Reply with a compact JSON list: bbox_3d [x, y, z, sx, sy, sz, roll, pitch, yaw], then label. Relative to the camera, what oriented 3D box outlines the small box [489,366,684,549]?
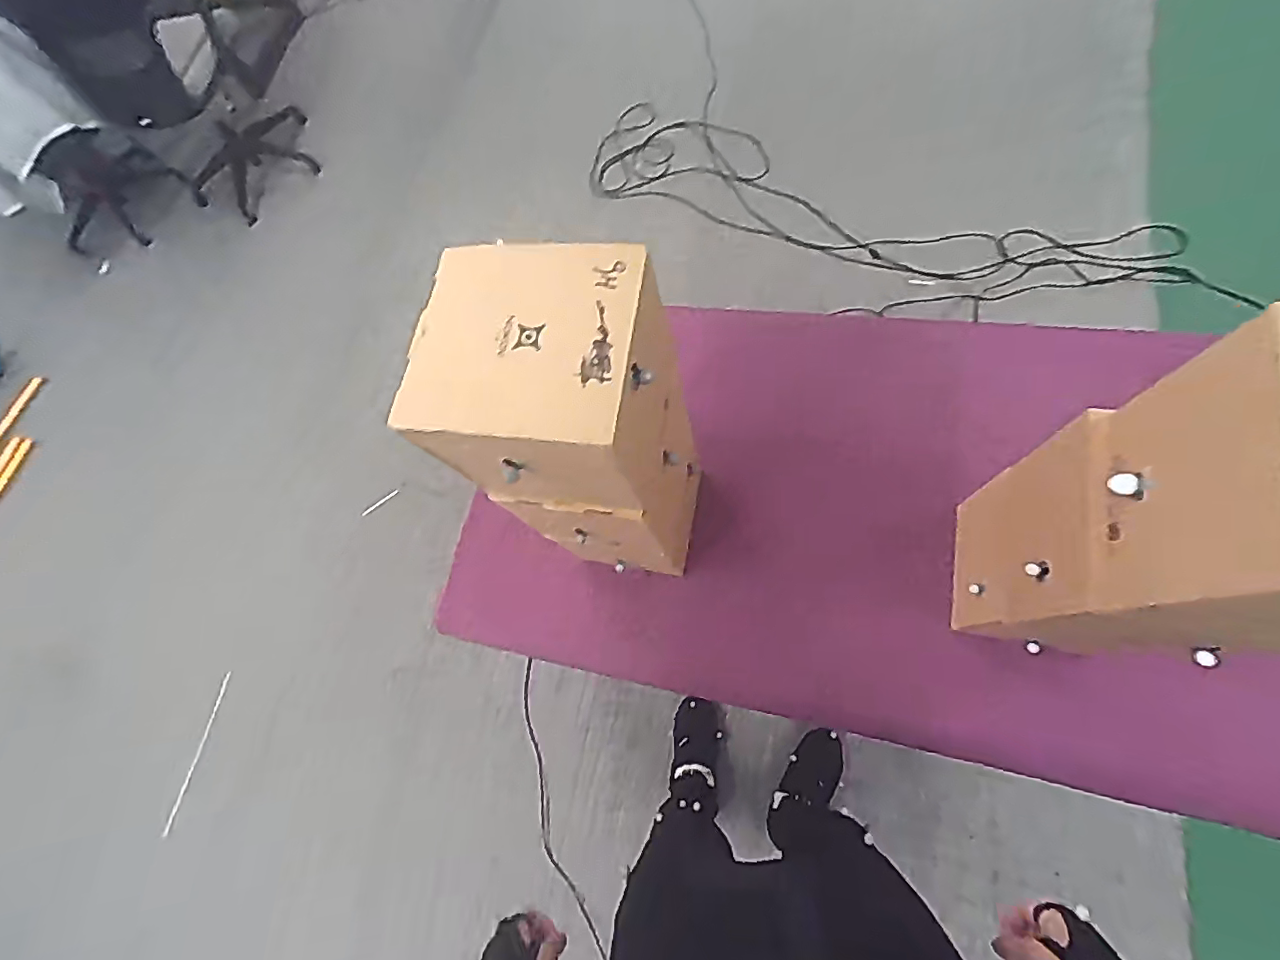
[{"bbox_3d":[-0.046,-0.030,0.632,0.168,0.176,0.179,7,73,14],"label":"small box"}]

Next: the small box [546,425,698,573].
[{"bbox_3d":[-0.014,0.024,0.782,0.168,0.176,0.179,8,73,15],"label":"small box"}]

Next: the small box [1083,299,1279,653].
[{"bbox_3d":[0.423,0.015,0.333,0.179,0.176,0.168,11,74,16],"label":"small box"}]

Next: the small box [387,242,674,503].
[{"bbox_3d":[-0.078,-0.084,0.481,0.179,0.176,0.168,5,73,15],"label":"small box"}]

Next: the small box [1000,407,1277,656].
[{"bbox_3d":[0.451,0.055,0.489,0.168,0.176,0.179,8,74,15],"label":"small box"}]
